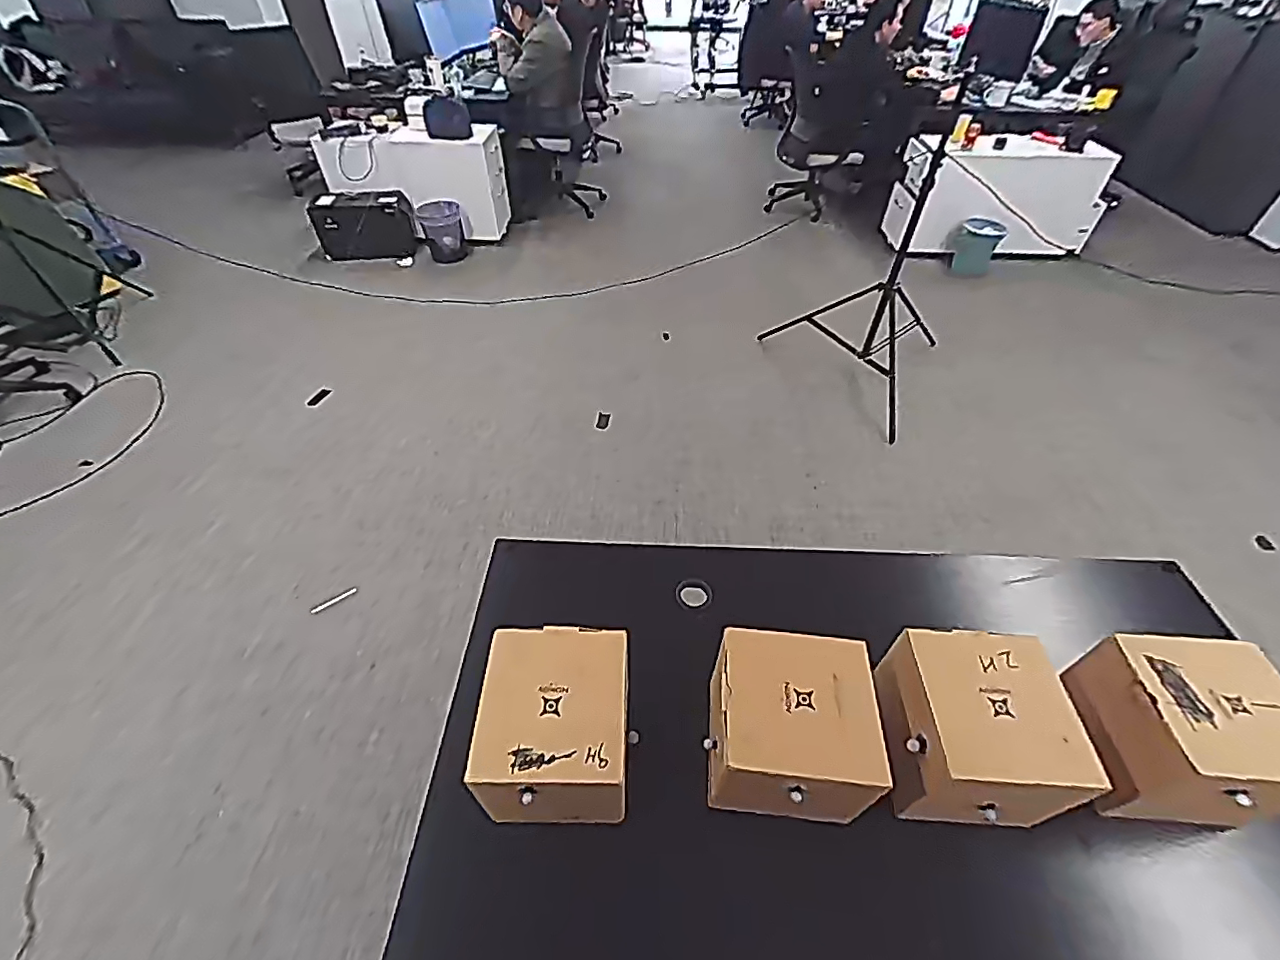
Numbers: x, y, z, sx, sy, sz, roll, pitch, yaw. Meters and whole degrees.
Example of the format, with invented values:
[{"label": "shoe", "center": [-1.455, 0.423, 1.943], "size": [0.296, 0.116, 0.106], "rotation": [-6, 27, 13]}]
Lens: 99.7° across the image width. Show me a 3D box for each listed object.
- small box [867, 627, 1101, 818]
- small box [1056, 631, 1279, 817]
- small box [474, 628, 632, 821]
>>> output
[{"label": "small box", "center": [0.410, 0.310, 0.686], "size": [0.168, 0.176, 0.179], "rotation": [3, 46, 2]}, {"label": "small box", "center": [0.672, 0.311, 0.686], "size": [0.179, 0.176, 0.168], "rotation": [3, 46, 2]}, {"label": "small box", "center": [-0.095, 0.308, 0.684], "size": [0.168, 0.176, 0.179], "rotation": [0, 46, 0]}]
